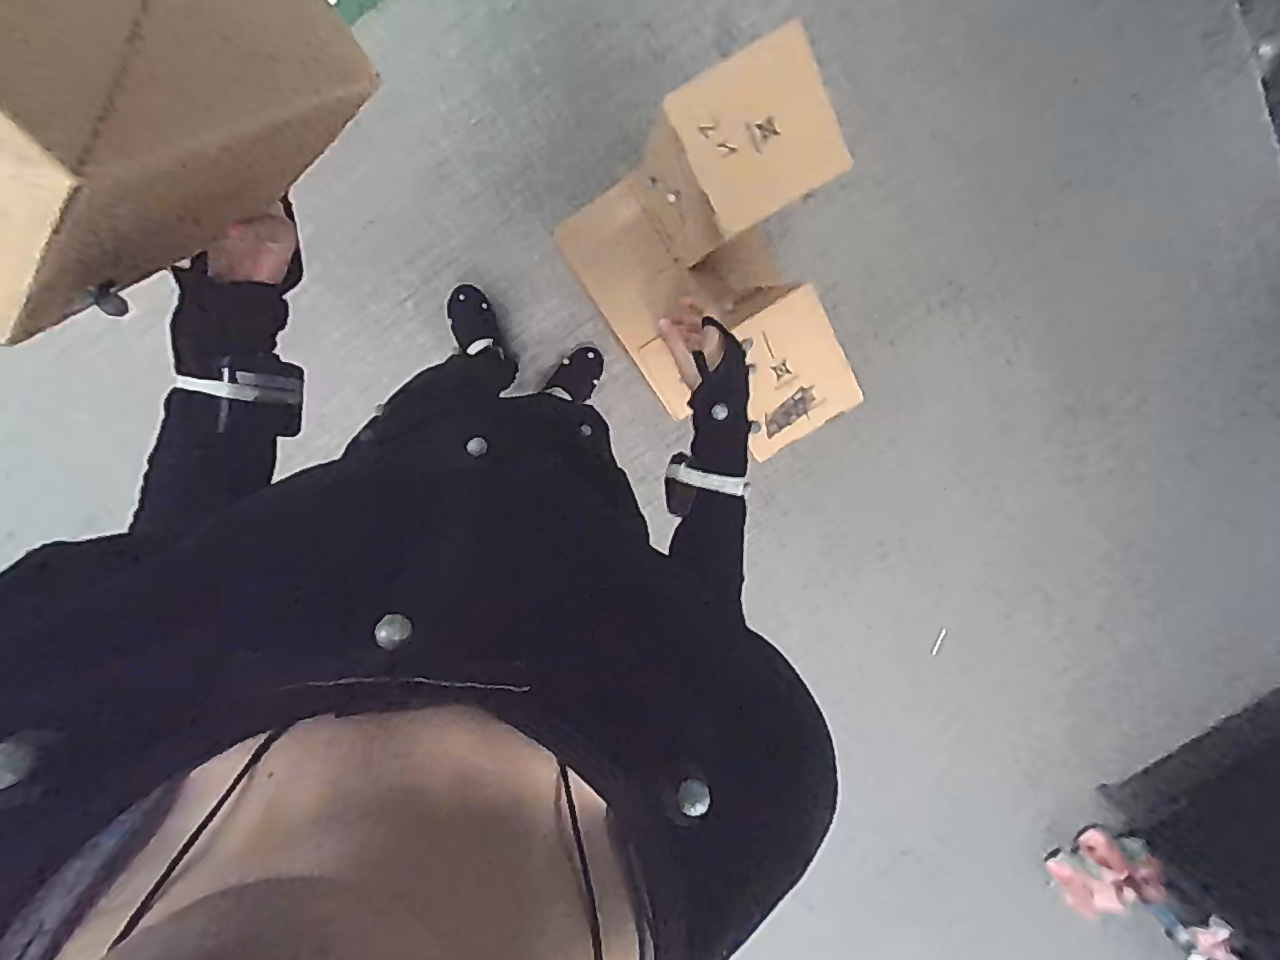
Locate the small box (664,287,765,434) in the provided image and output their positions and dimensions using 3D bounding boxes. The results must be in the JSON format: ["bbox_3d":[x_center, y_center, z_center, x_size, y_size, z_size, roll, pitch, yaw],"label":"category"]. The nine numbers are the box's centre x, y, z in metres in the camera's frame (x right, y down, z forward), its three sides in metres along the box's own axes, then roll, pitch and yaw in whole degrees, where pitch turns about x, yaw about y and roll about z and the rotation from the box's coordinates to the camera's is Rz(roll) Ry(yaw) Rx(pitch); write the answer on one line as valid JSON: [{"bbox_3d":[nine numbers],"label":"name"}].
[{"bbox_3d":[0.154,-0.205,0.928,0.168,0.176,0.179,-31,106,6],"label":"small box"}]

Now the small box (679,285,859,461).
[{"bbox_3d":[0.174,-0.157,0.773,0.168,0.176,0.179,-31,107,4],"label":"small box"}]

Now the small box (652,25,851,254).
[{"bbox_3d":[0.131,-0.417,0.698,0.179,0.176,0.168,-29,105,3],"label":"small box"}]
